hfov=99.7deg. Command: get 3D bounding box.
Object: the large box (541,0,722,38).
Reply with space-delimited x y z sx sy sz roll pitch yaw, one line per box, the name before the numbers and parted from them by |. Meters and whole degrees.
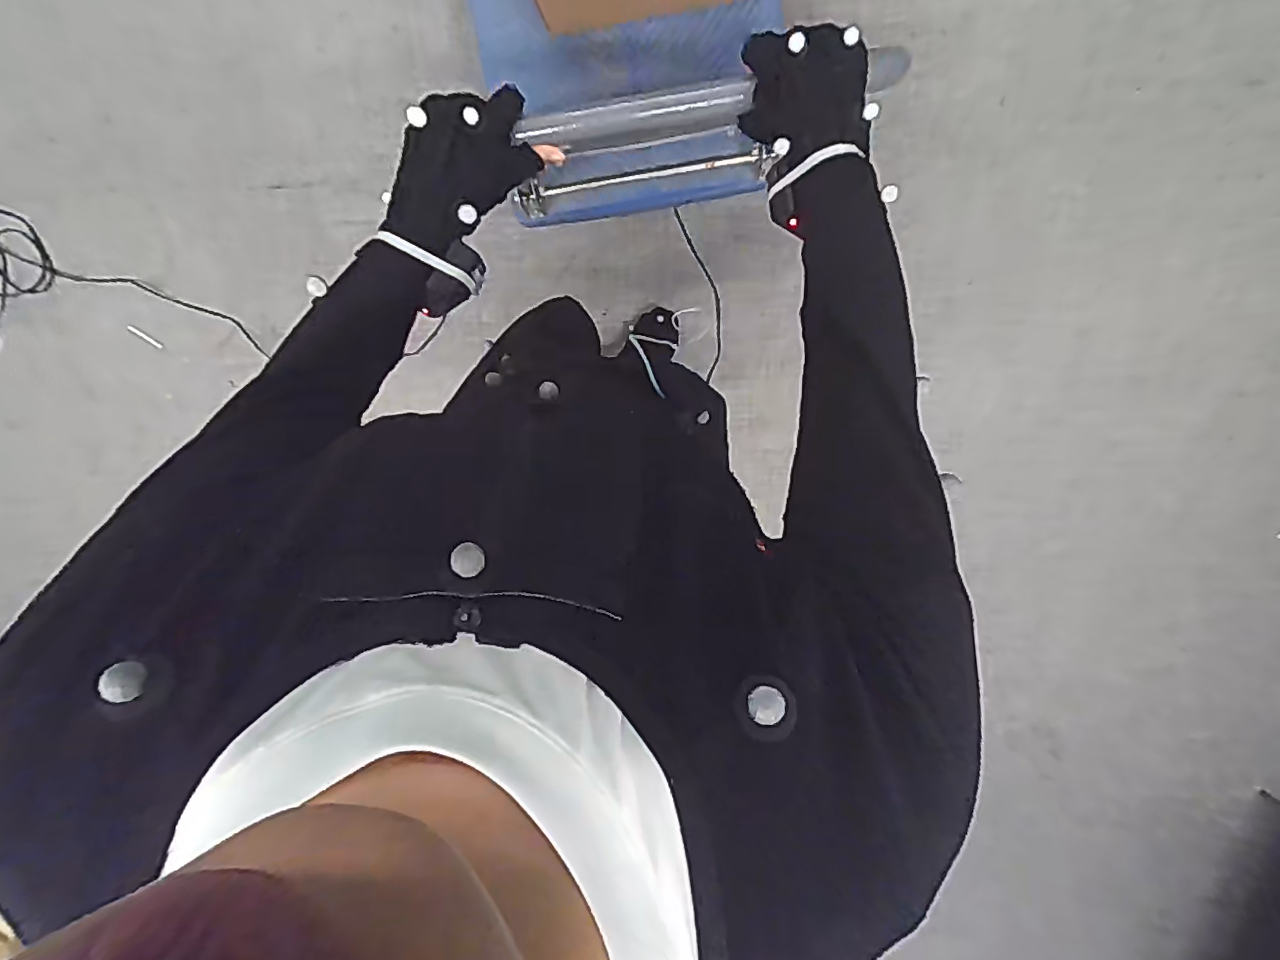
large box | 0.004 -0.970 0.838 0.408 0.320 0.320 -8 108 6
